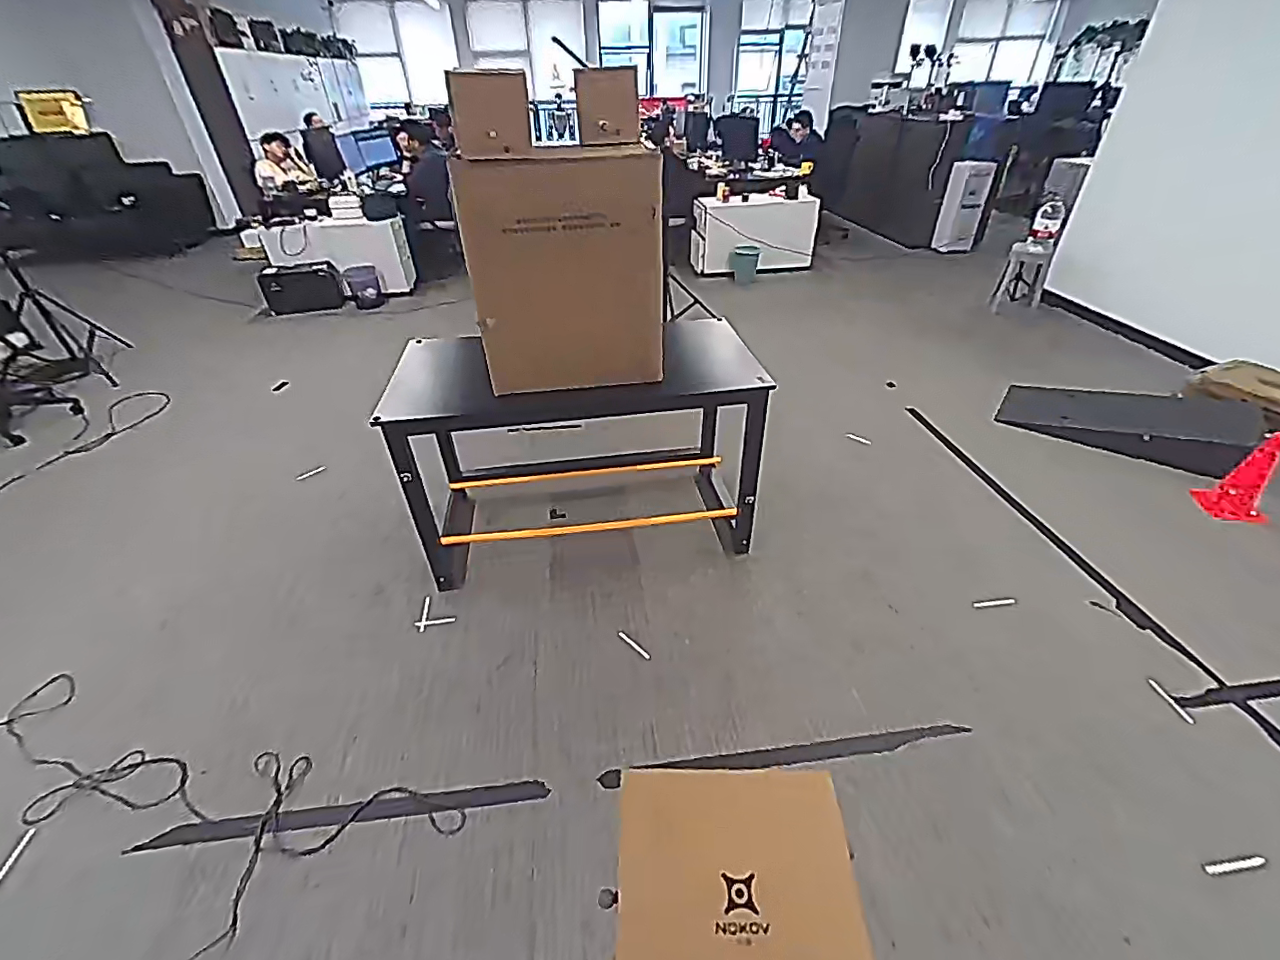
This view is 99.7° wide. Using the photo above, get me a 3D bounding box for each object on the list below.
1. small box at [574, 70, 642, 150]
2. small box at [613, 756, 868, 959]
[{"bbox_3d":[-0.087,-1.000,1.466,0.168,0.176,0.179,-6,36,-3],"label":"small box"},{"bbox_3d":[0.064,0.340,0.424,0.168,0.176,0.179,0,43,1],"label":"small box"}]
